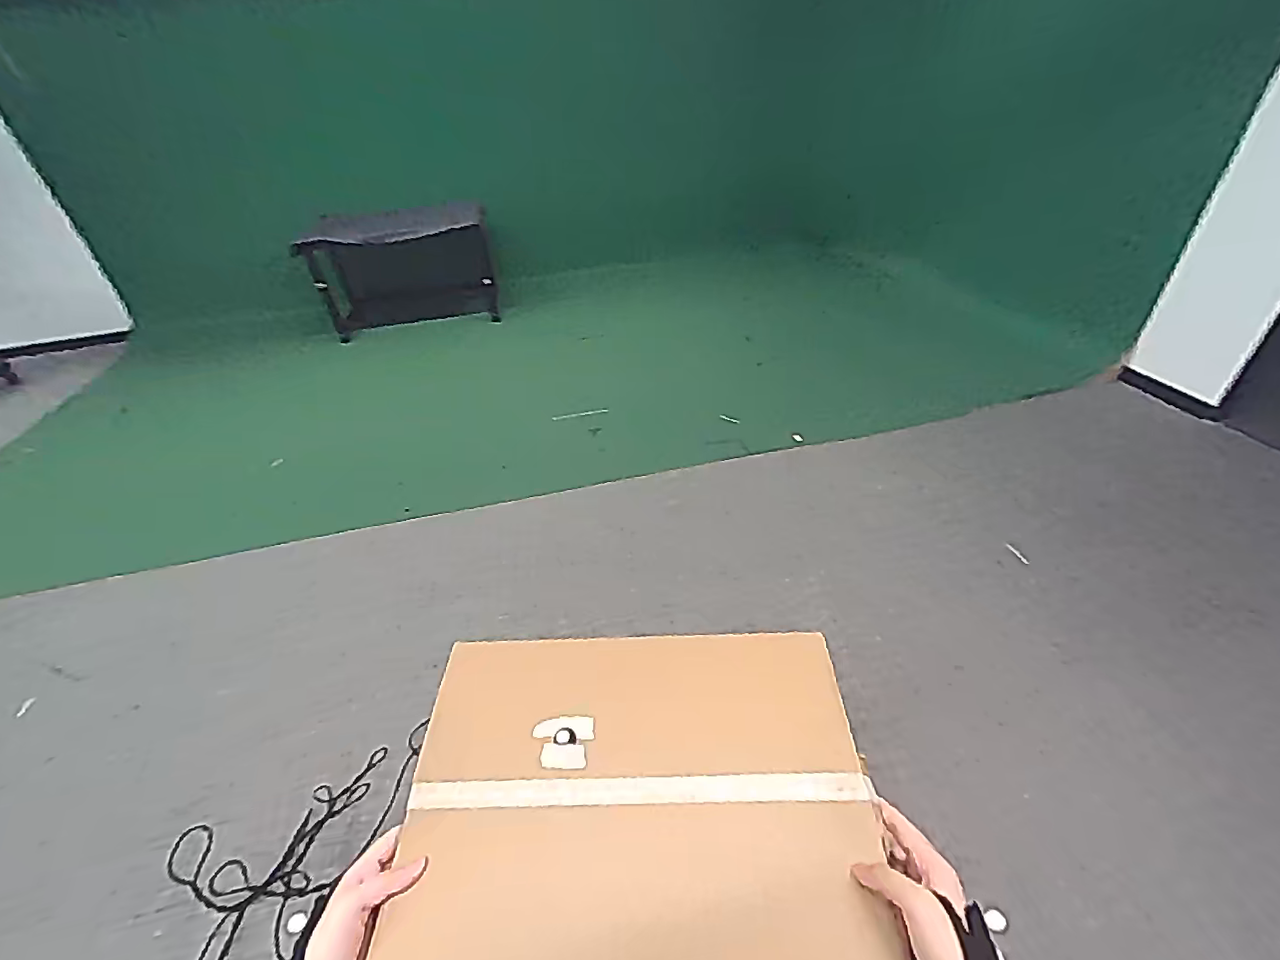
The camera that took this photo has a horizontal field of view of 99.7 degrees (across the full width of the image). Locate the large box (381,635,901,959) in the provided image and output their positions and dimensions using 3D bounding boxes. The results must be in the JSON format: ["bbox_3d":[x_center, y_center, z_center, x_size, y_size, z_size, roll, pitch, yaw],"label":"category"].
[{"bbox_3d":[0.007,0.397,0.589,0.408,0.320,0.320,-4,43,3],"label":"large box"}]
